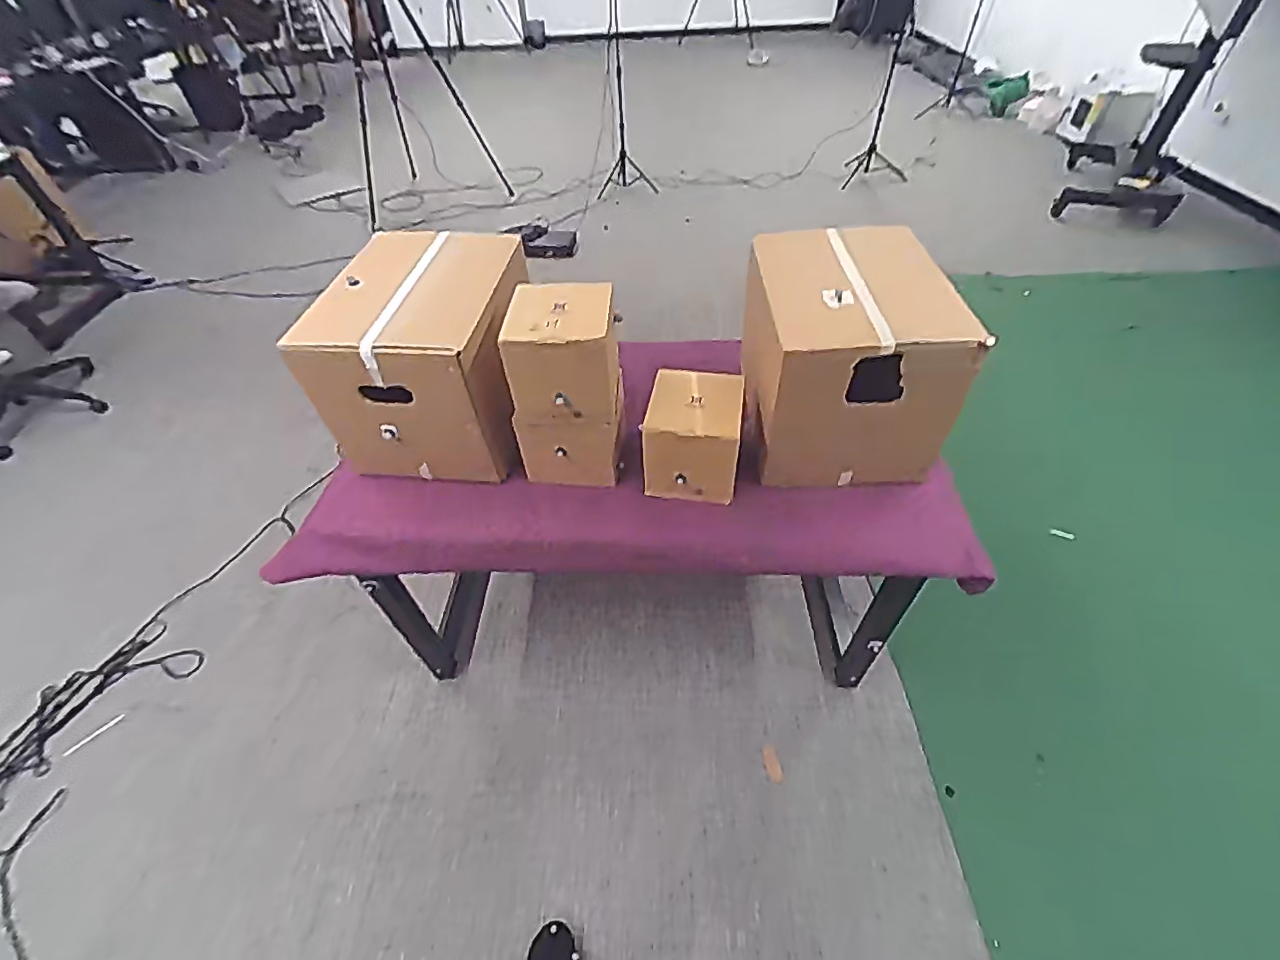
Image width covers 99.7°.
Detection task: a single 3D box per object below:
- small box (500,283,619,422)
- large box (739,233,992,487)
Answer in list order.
[{"bbox_3d":[-0.126,-0.220,0.928,0.168,0.176,0.179,0,48,3],"label":"small box"},{"bbox_3d":[0.381,-0.236,1.052,0.320,0.320,0.408,-2,48,4],"label":"large box"}]
